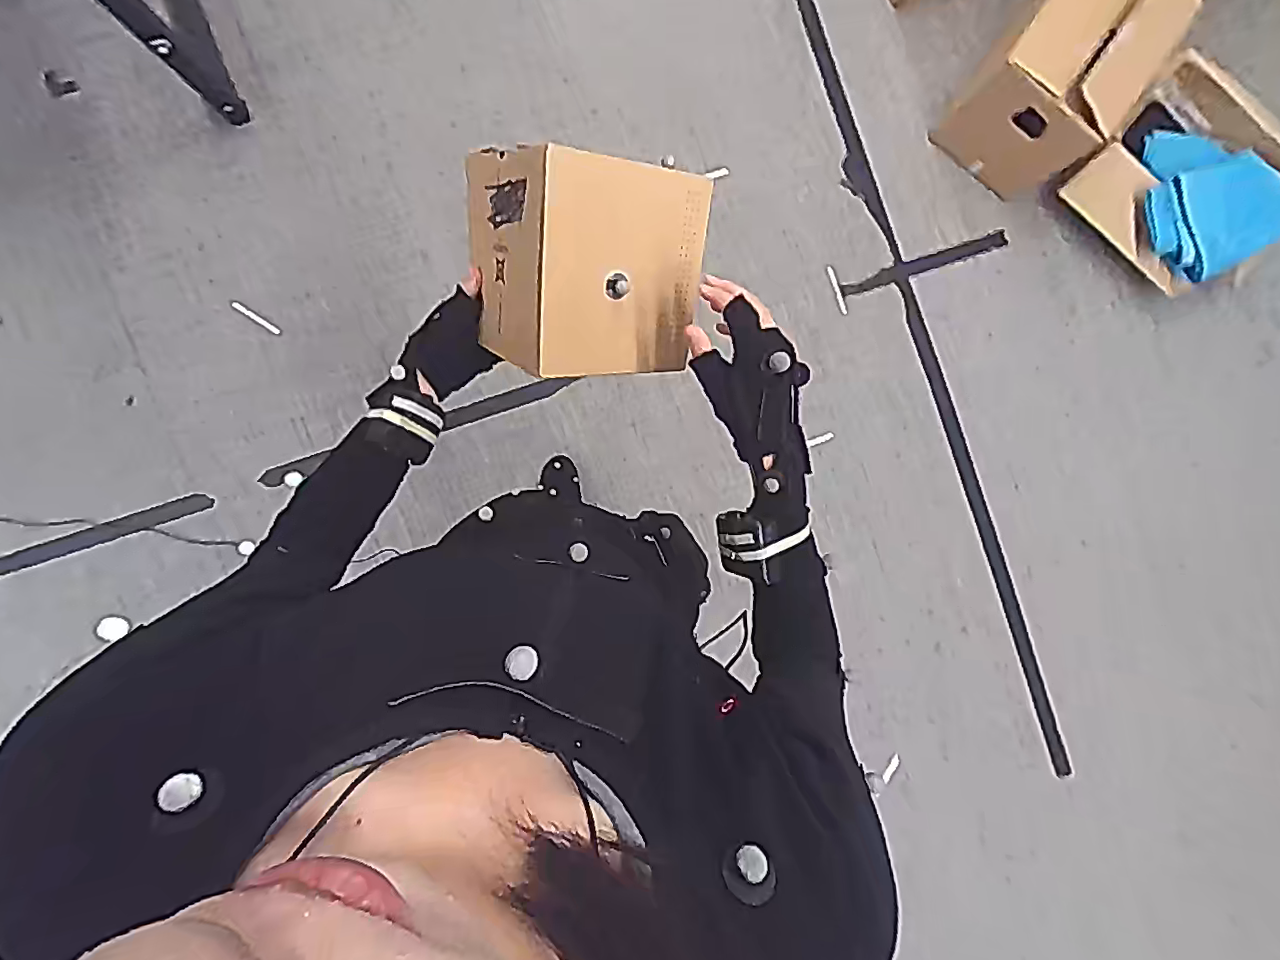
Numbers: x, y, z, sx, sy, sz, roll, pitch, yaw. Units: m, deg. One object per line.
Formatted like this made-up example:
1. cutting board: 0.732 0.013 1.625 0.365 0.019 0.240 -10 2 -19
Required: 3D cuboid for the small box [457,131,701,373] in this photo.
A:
1. small box: -0.061 -0.210 0.516 0.176 0.168 0.179 -12 119 -34
